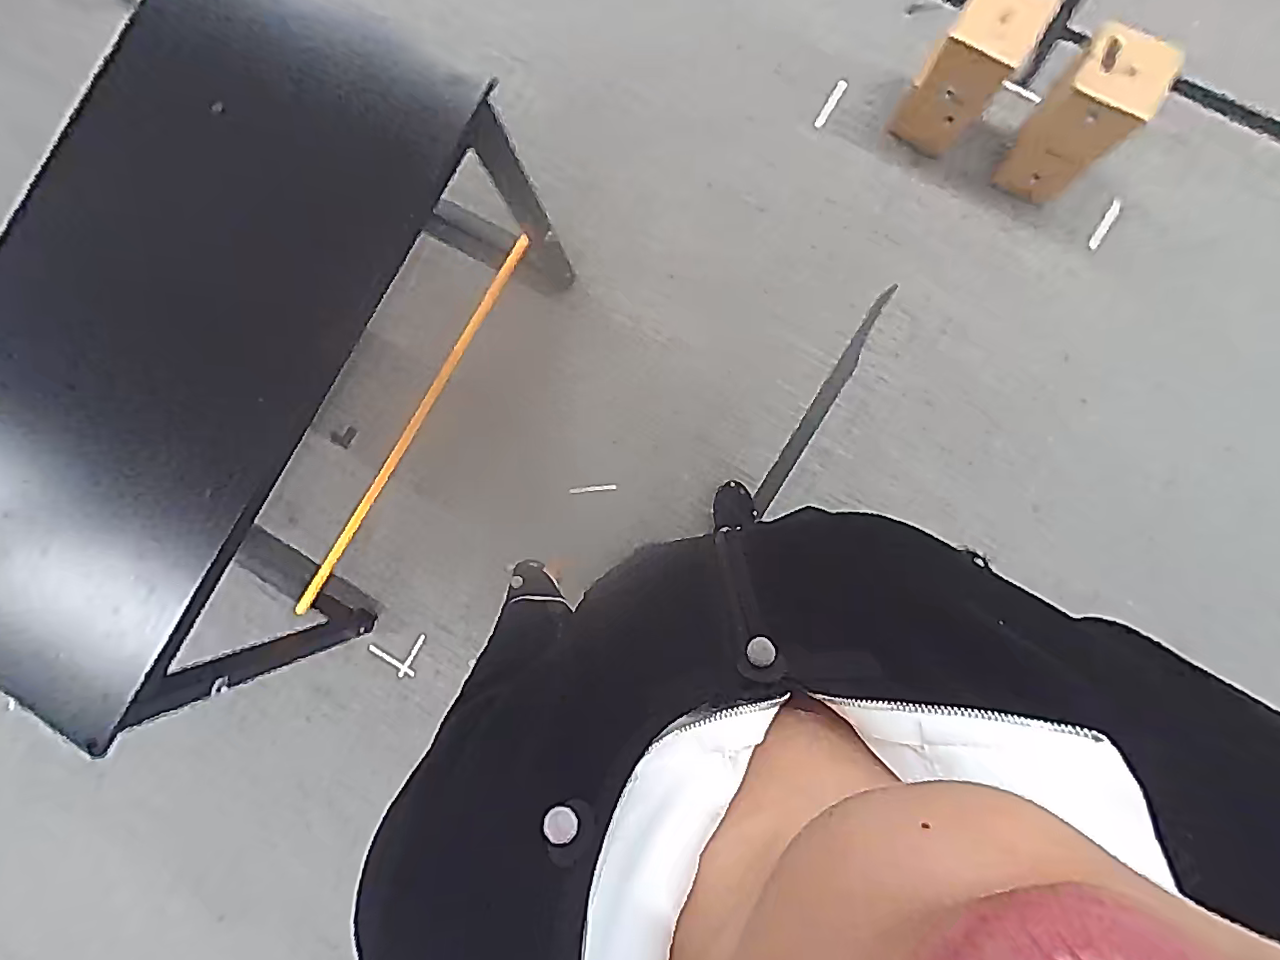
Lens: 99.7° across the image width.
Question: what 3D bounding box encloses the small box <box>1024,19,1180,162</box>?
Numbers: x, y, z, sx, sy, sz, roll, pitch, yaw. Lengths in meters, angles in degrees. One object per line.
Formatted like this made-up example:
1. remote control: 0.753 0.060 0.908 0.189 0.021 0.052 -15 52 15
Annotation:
1. small box: 1.021 -0.861 1.214 0.179 0.176 0.168 28 90 4

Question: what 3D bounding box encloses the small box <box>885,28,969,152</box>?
1. small box: 0.779 -0.996 1.401 0.179 0.176 0.168 32 90 5

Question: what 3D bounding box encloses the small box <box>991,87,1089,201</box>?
1. small box: 1.041 -0.854 1.379 0.168 0.176 0.179 28 91 5

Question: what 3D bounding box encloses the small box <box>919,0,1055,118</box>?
1. small box: 0.779 -0.990 1.238 0.168 0.176 0.179 32 92 6
